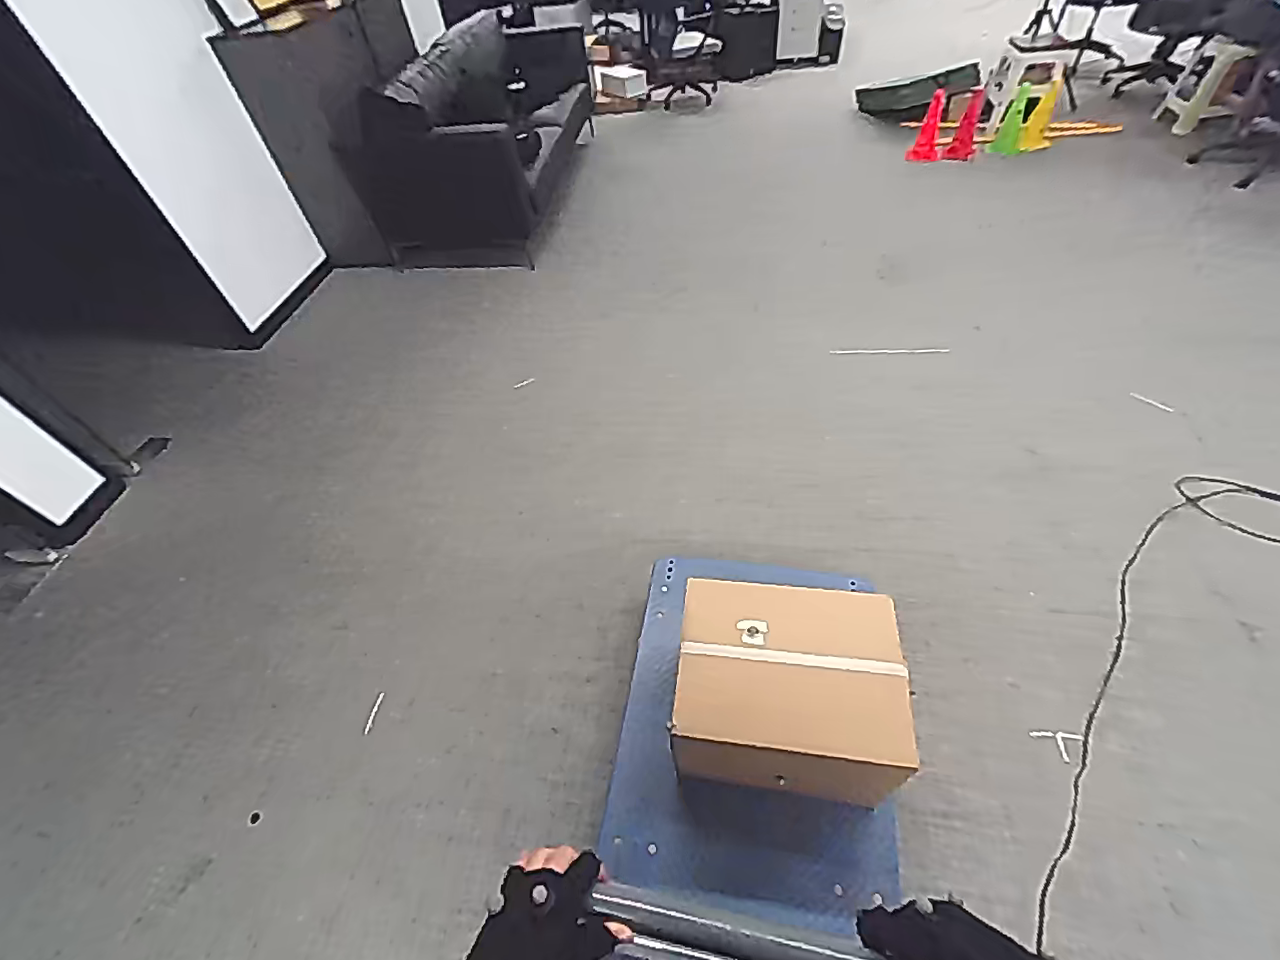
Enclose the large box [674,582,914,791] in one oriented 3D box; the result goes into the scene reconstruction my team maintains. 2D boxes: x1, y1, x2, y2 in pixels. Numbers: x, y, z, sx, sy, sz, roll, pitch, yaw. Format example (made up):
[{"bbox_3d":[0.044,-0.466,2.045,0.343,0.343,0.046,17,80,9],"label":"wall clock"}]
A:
[{"bbox_3d":[0.293,0.430,1.125,0.408,0.320,0.320,2,50,10],"label":"large box"}]
